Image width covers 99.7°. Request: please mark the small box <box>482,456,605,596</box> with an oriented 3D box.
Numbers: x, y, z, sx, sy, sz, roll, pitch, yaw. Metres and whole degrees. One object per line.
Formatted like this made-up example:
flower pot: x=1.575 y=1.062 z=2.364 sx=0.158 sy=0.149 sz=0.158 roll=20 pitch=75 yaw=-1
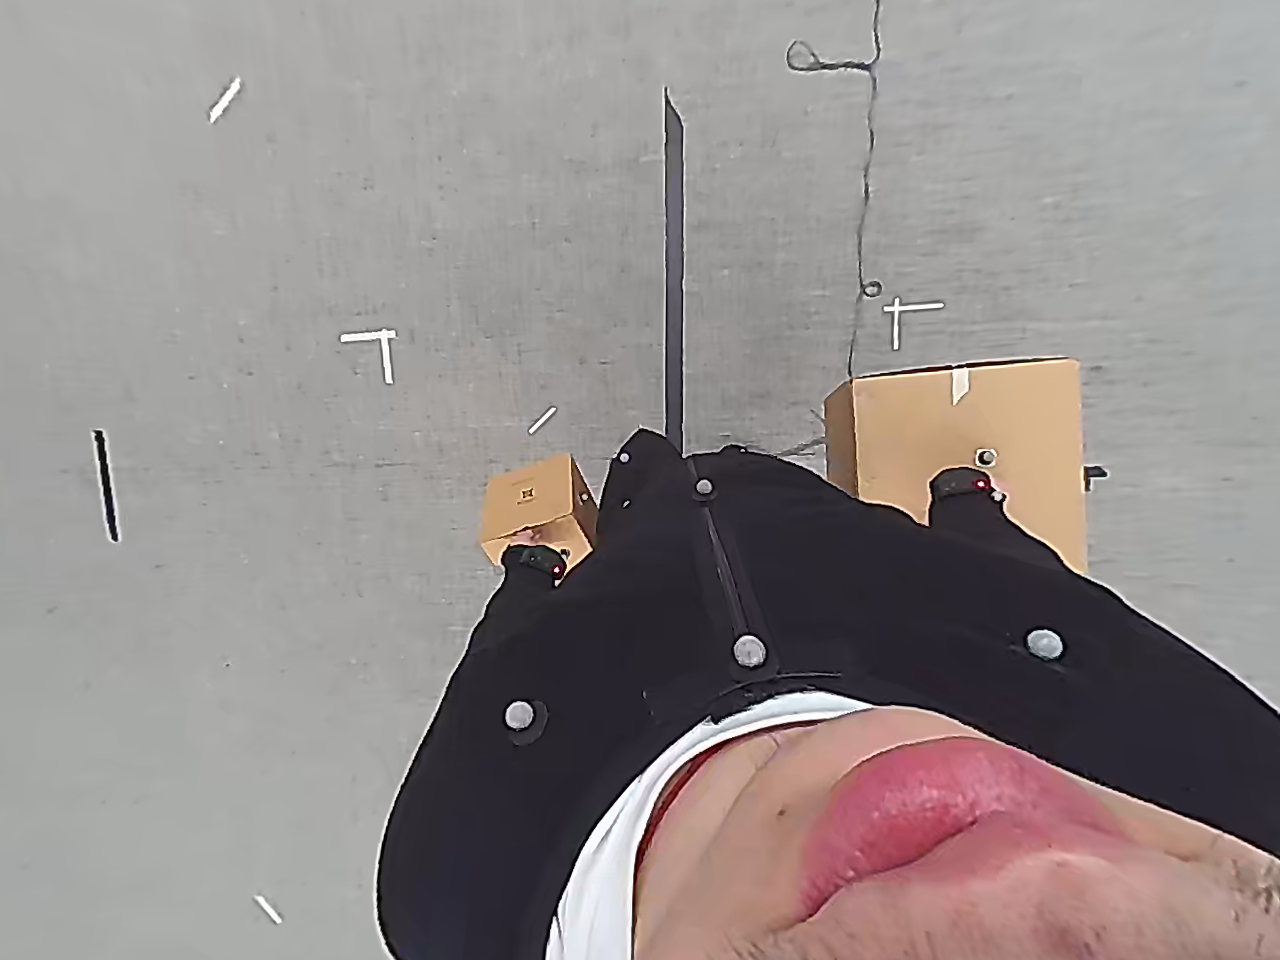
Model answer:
small box: x=-0.170 y=0.091 z=0.992 sx=0.168 sy=0.179 sz=0.176 roll=-18 pitch=127 yaw=5
